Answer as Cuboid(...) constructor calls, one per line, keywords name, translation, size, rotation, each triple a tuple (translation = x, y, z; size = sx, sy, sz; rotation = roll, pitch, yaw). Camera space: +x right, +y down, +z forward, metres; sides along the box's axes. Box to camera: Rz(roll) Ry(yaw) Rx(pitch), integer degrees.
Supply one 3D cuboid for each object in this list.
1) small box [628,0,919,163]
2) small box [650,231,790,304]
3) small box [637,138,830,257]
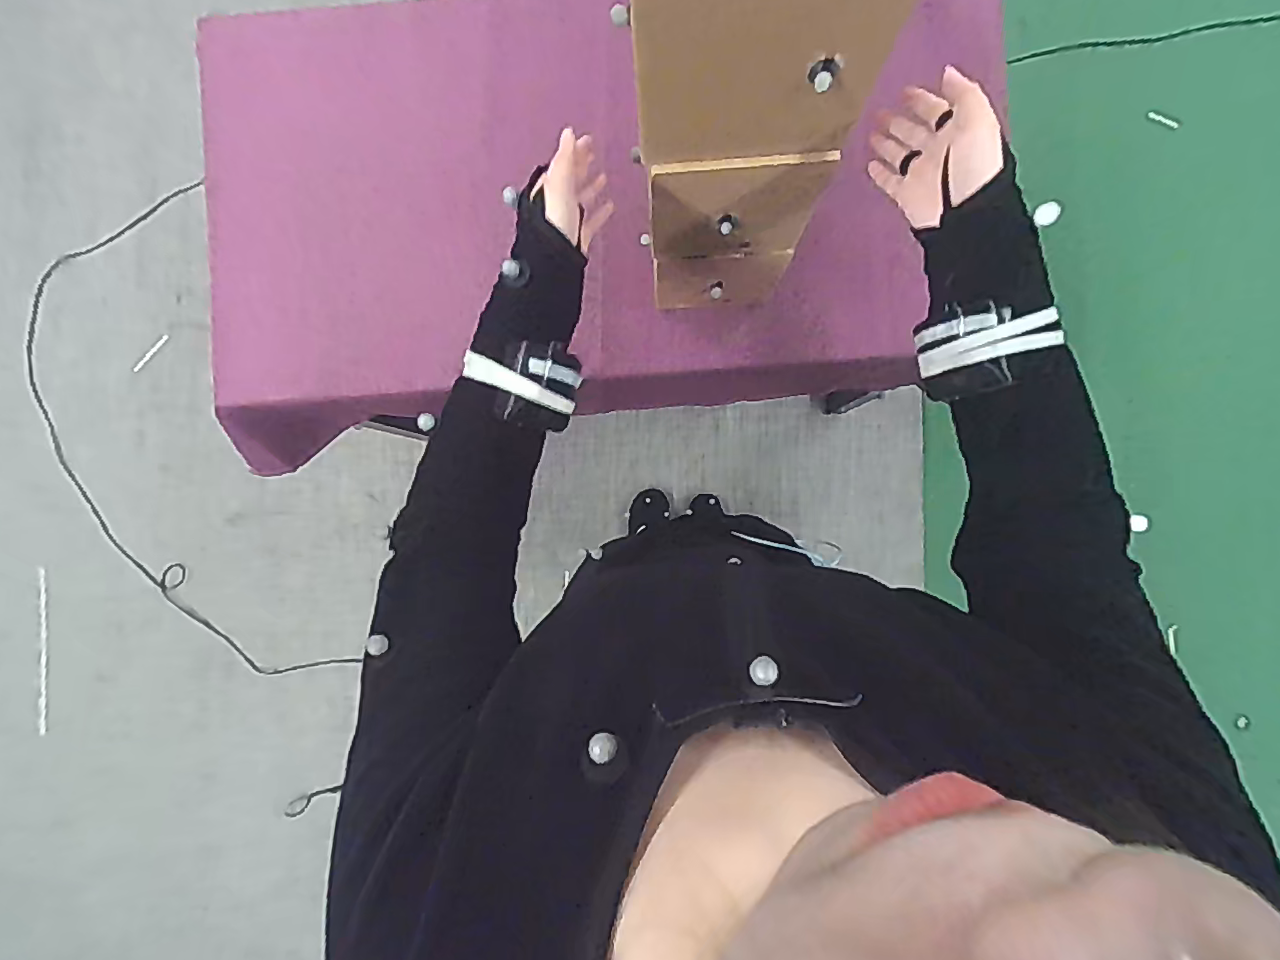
Cuboid(name="small box", translation=(0.079, -0.359, 0.391), size=(0.179, 0.176, 0.168), rotation=(-3, 87, 2))
Cuboid(name="small box", translation=(0.096, -0.343, 0.719), size=(0.168, 0.176, 0.179), rotation=(-3, 89, 1))
Cuboid(name="small box", translation=(0.083, -0.347, 0.550), size=(0.168, 0.176, 0.179), rotation=(0, 86, -2))
